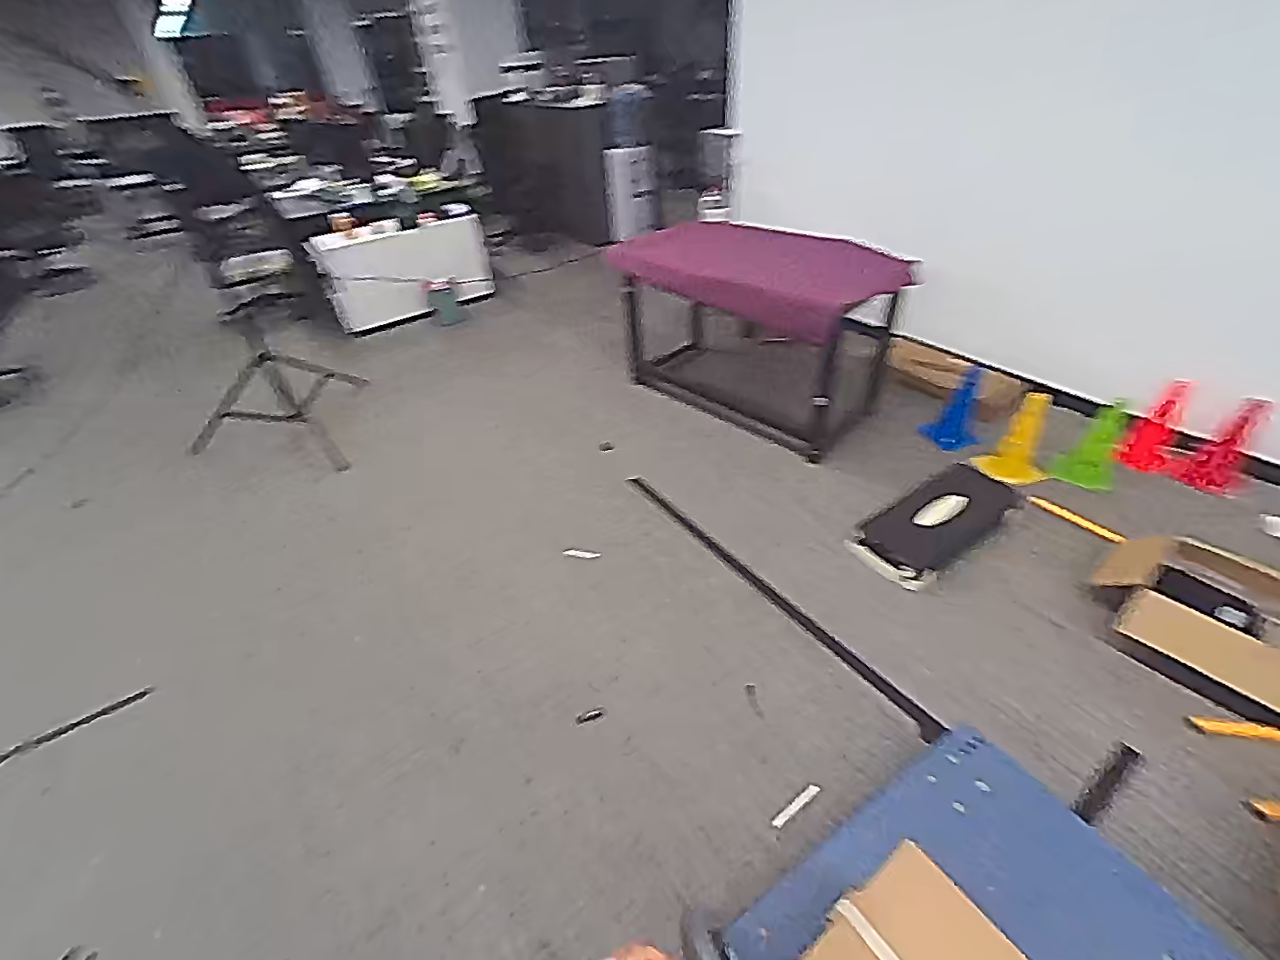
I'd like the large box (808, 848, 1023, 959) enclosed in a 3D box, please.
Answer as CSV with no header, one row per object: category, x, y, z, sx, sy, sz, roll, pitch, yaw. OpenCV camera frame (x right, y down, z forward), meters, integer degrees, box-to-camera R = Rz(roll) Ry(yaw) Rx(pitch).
large box,0.439,0.866,0.786,0.320,0.320,0.408,-27,45,-24
